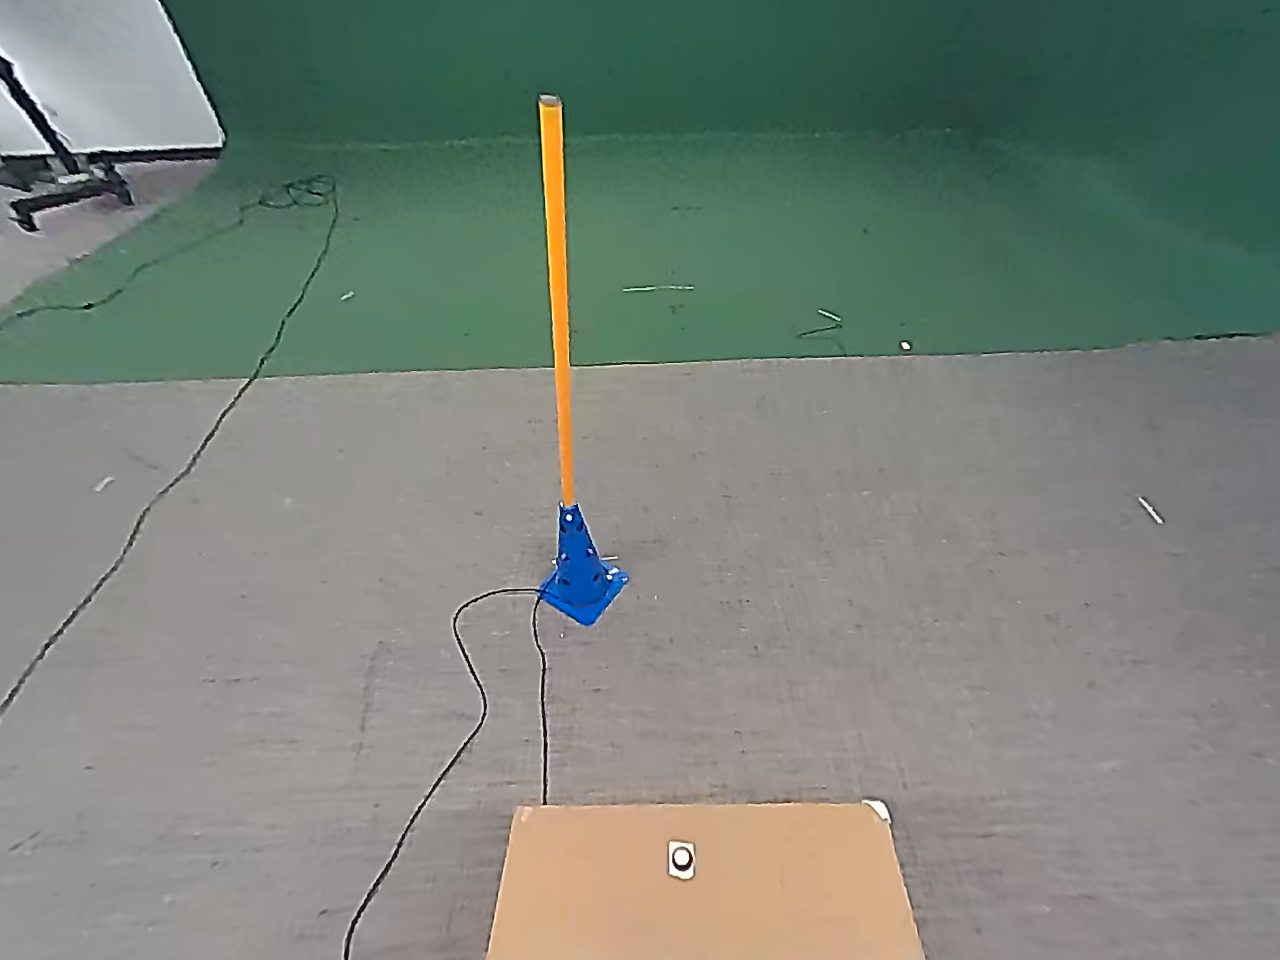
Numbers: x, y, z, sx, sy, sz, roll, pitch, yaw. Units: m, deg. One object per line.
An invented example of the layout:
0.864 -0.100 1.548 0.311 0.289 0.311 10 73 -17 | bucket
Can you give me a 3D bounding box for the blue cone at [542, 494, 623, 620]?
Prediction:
-0.163 0.173 1.407 0.192 0.380 0.193 24 50 21 | blue cone
